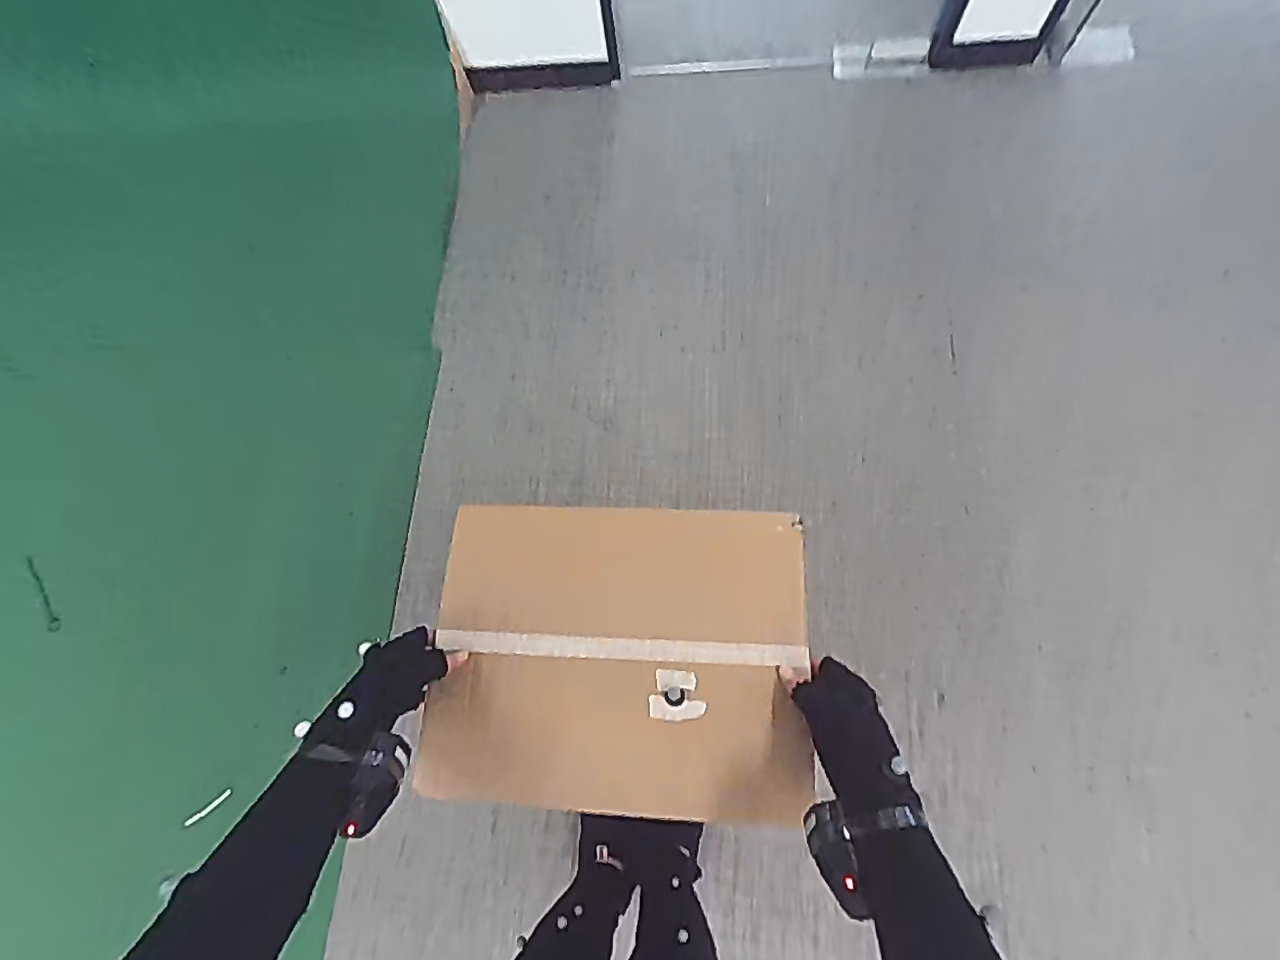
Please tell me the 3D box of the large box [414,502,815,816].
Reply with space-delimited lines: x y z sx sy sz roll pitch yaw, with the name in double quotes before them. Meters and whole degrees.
"large box" -0.015 0.229 0.718 0.408 0.320 0.320 2 69 5
